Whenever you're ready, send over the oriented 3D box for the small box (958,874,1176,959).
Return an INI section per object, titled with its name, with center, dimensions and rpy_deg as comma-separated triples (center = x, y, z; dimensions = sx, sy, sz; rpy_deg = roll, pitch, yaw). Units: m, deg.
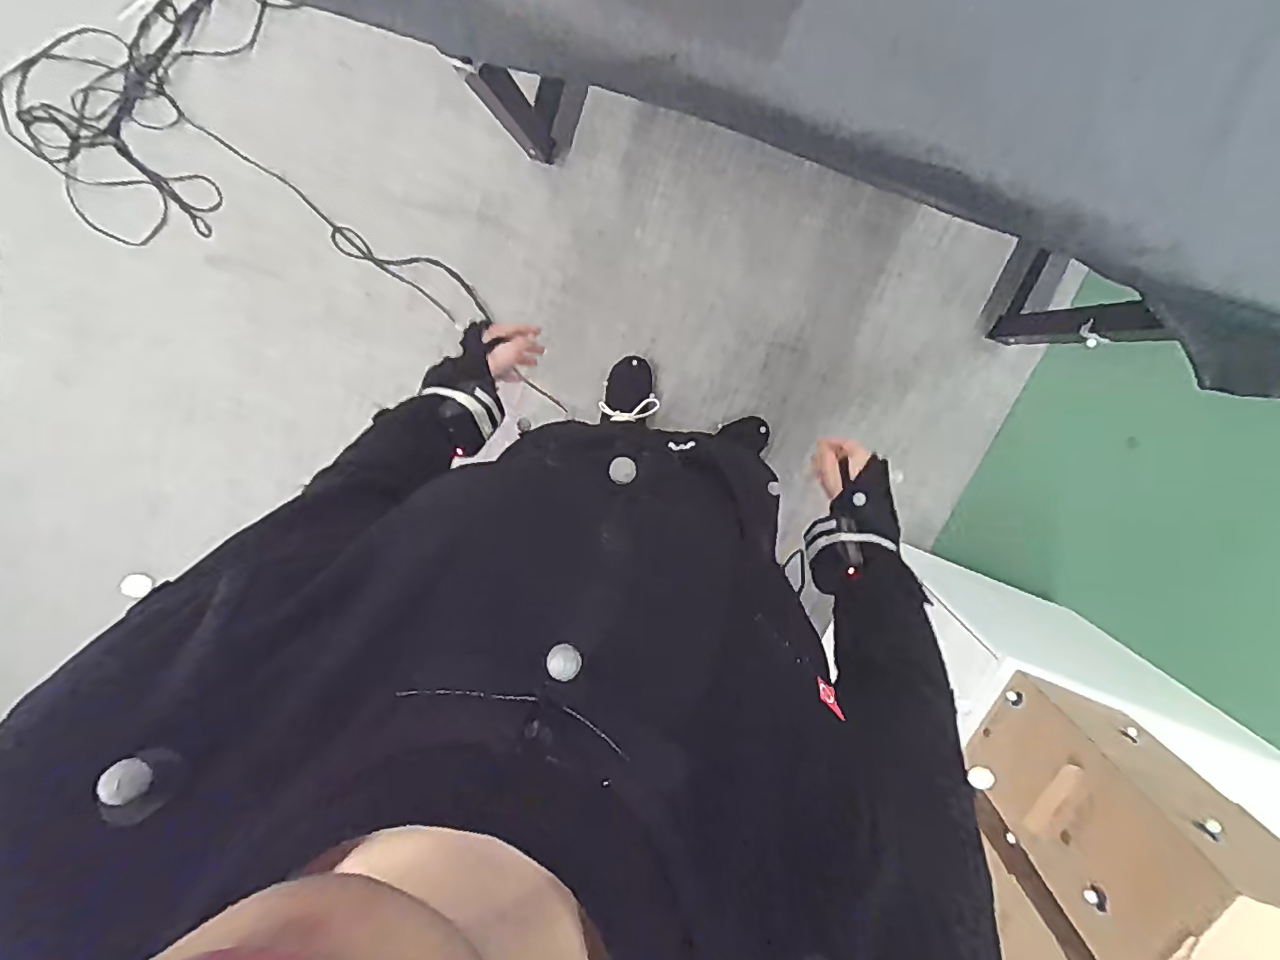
[small box]
center = 0.509, 0.602, 0.617
dimensions = 0.179, 0.176, 0.168
rpy_deg = 18, 104, 0
